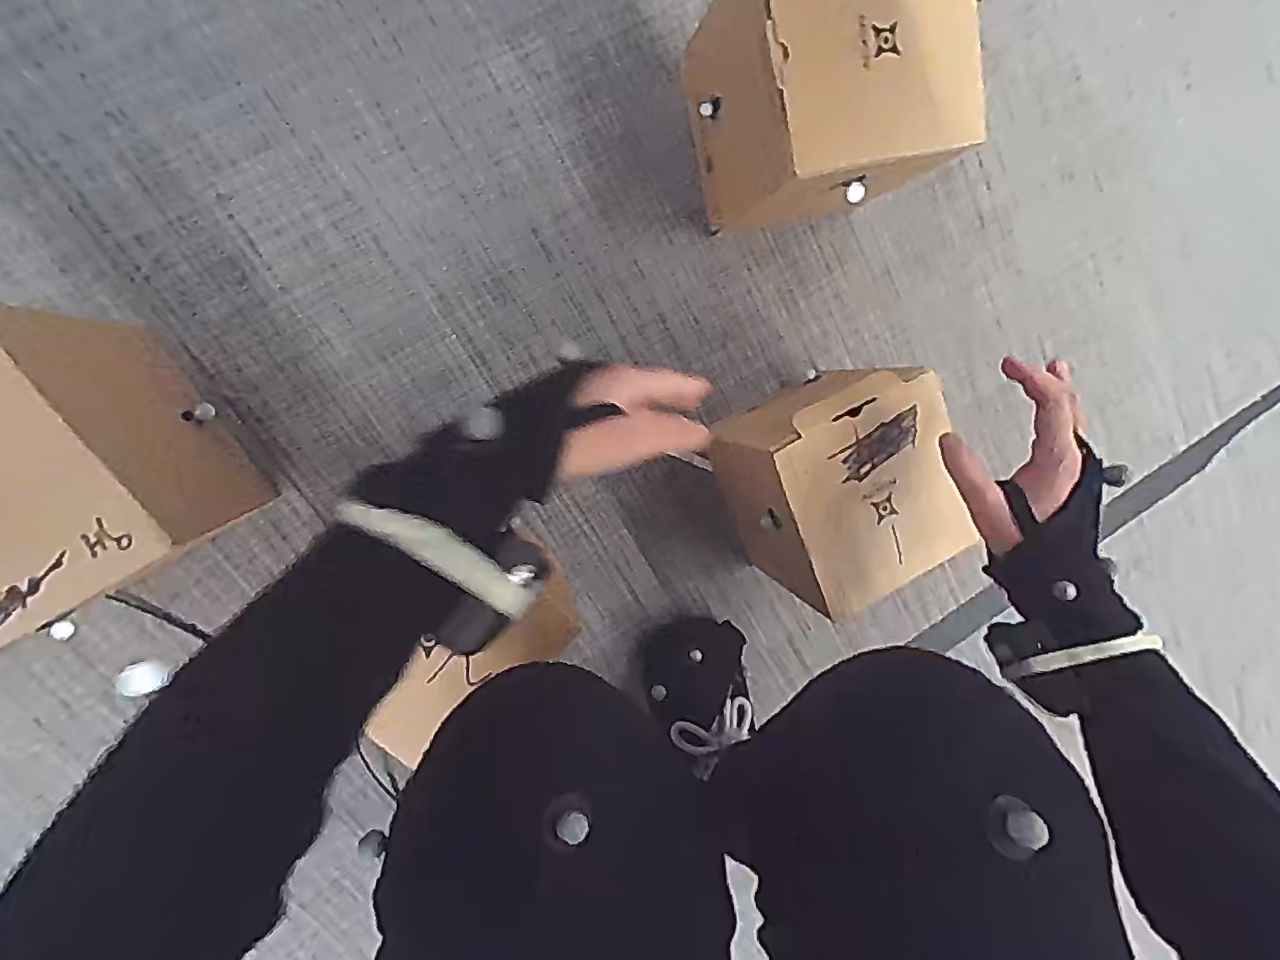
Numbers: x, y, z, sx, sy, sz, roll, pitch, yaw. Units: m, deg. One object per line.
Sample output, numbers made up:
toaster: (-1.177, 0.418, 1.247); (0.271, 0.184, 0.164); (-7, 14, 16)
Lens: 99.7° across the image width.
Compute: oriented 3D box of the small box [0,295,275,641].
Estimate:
small box: (-0.418, -0.003, 0.390); (0.168, 0.176, 0.179); (-30, 103, -8)

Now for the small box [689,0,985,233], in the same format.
small box: (0.161, -0.335, 0.478); (0.179, 0.176, 0.168); (-15, 103, -10)
